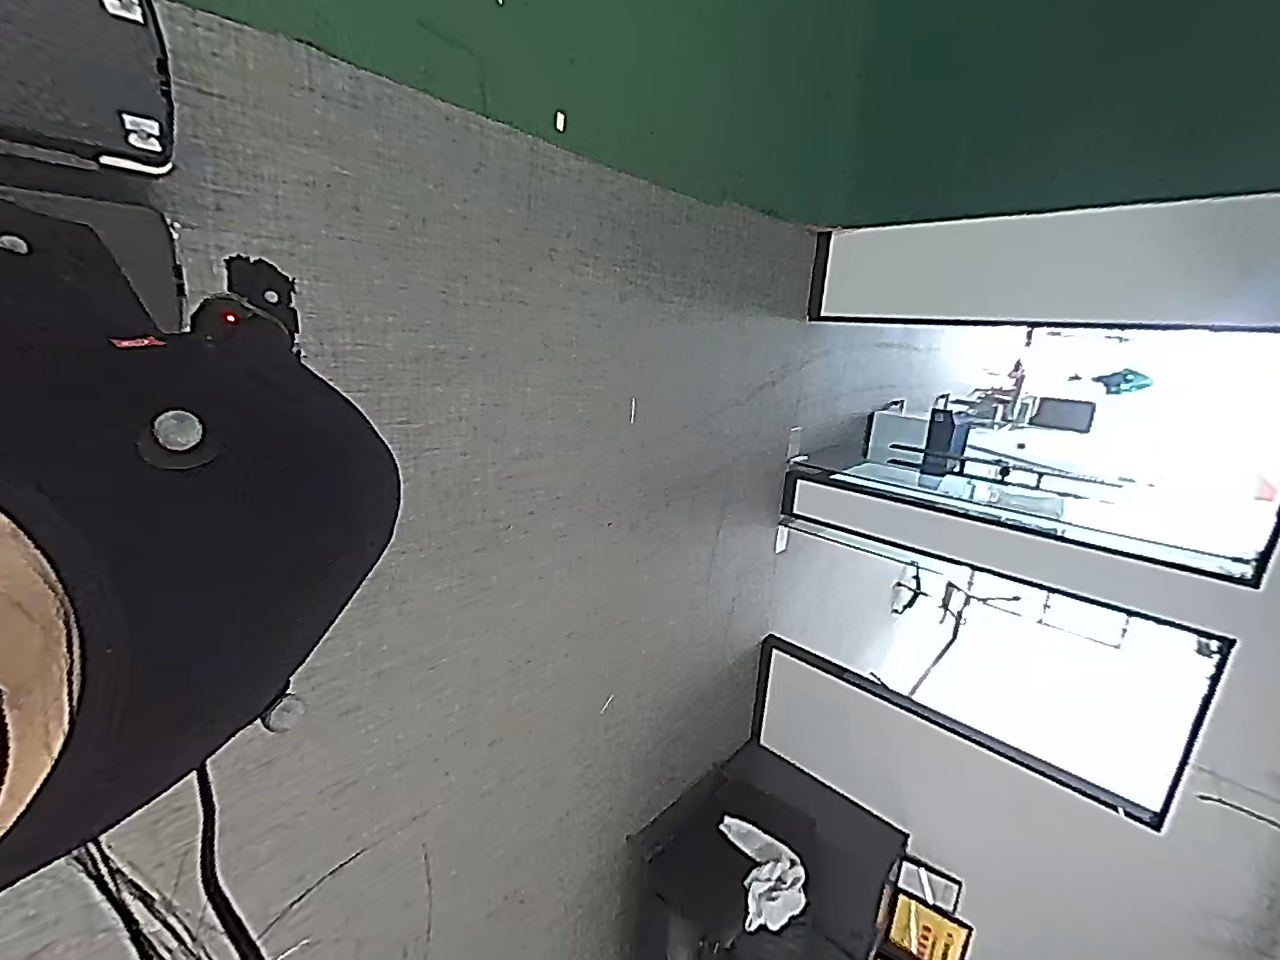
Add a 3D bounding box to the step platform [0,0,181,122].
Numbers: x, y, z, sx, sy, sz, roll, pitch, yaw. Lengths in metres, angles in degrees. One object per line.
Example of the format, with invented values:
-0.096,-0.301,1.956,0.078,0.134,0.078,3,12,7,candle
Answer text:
-0.977,-0.666,0.609,0.684,0.204,0.286,-12,113,-45,step platform
